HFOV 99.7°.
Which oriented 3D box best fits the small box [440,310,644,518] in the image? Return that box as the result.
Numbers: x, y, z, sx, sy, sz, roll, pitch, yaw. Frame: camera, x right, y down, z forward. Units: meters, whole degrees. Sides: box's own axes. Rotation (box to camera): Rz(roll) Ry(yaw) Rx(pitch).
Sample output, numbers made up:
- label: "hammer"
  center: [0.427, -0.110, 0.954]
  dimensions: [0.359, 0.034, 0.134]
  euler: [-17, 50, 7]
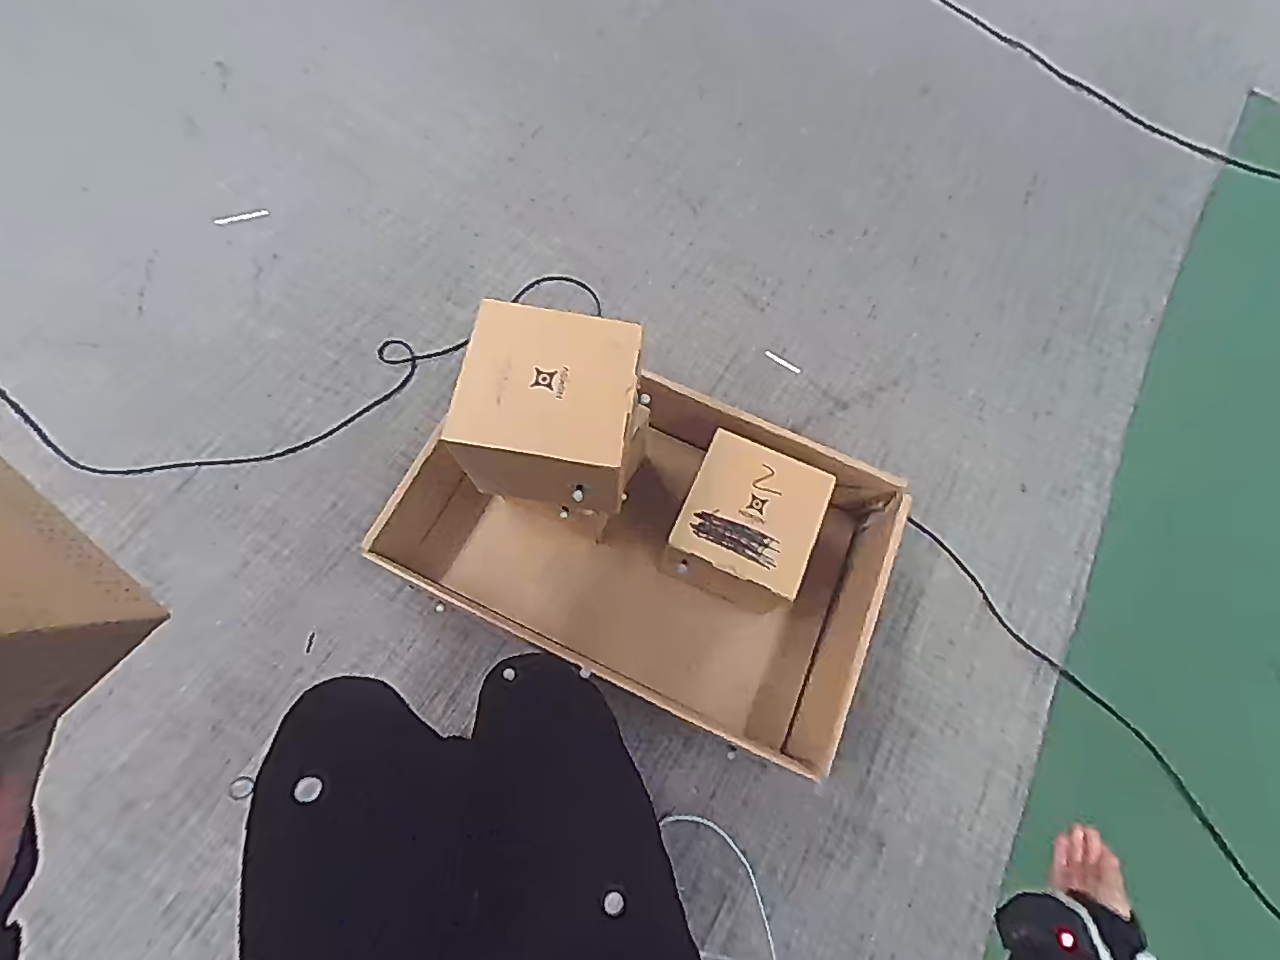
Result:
- label: "small box"
  center: [-0.098, -0.063, 0.617]
  dimensions: [0.179, 0.176, 0.168]
  euler: [10, 70, 1]

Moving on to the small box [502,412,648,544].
- label: "small box"
  center: [-0.106, -0.025, 0.776]
  dimensions: [0.179, 0.176, 0.168]
  euler: [26, 71, 5]

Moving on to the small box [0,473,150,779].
- label: "small box"
  center: [-0.361, 0.066, 0.197]
  dimensions: [0.179, 0.176, 0.168]
  euler: [44, 78, 0]
